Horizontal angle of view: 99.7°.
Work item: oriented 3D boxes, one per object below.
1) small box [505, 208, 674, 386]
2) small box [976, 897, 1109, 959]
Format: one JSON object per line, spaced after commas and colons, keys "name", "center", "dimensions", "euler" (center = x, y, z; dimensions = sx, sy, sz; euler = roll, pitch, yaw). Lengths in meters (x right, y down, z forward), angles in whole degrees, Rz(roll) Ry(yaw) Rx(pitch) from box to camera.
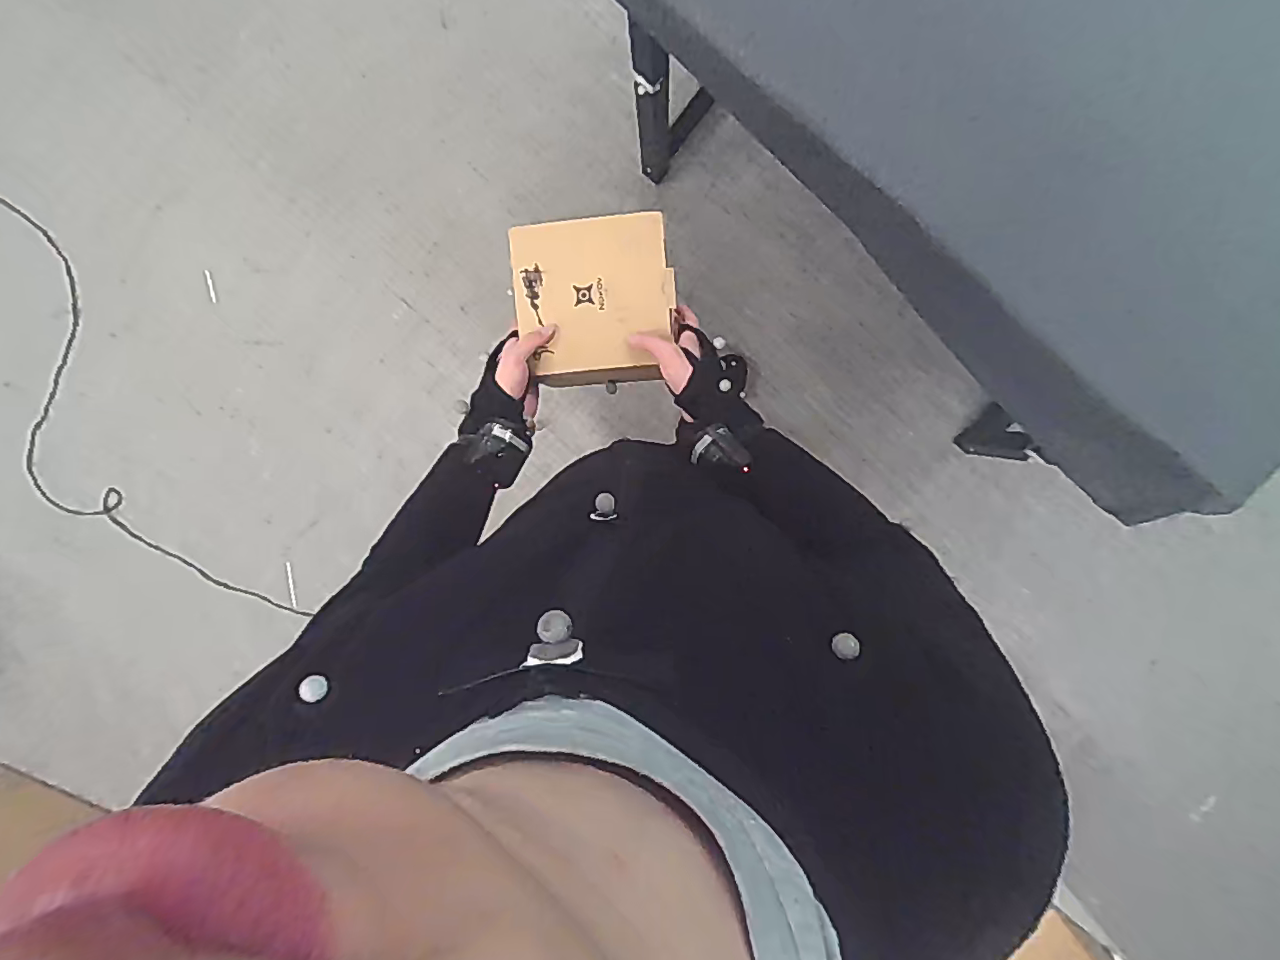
{"name": "small box", "center": [-0.053, -0.212, 0.670], "dimensions": [0.179, 0.176, 0.168], "euler": [-5, 93, 3]}
{"name": "small box", "center": [0.749, 0.902, 0.957], "dimensions": [0.168, 0.176, 0.179], "euler": [40, 100, -3]}
